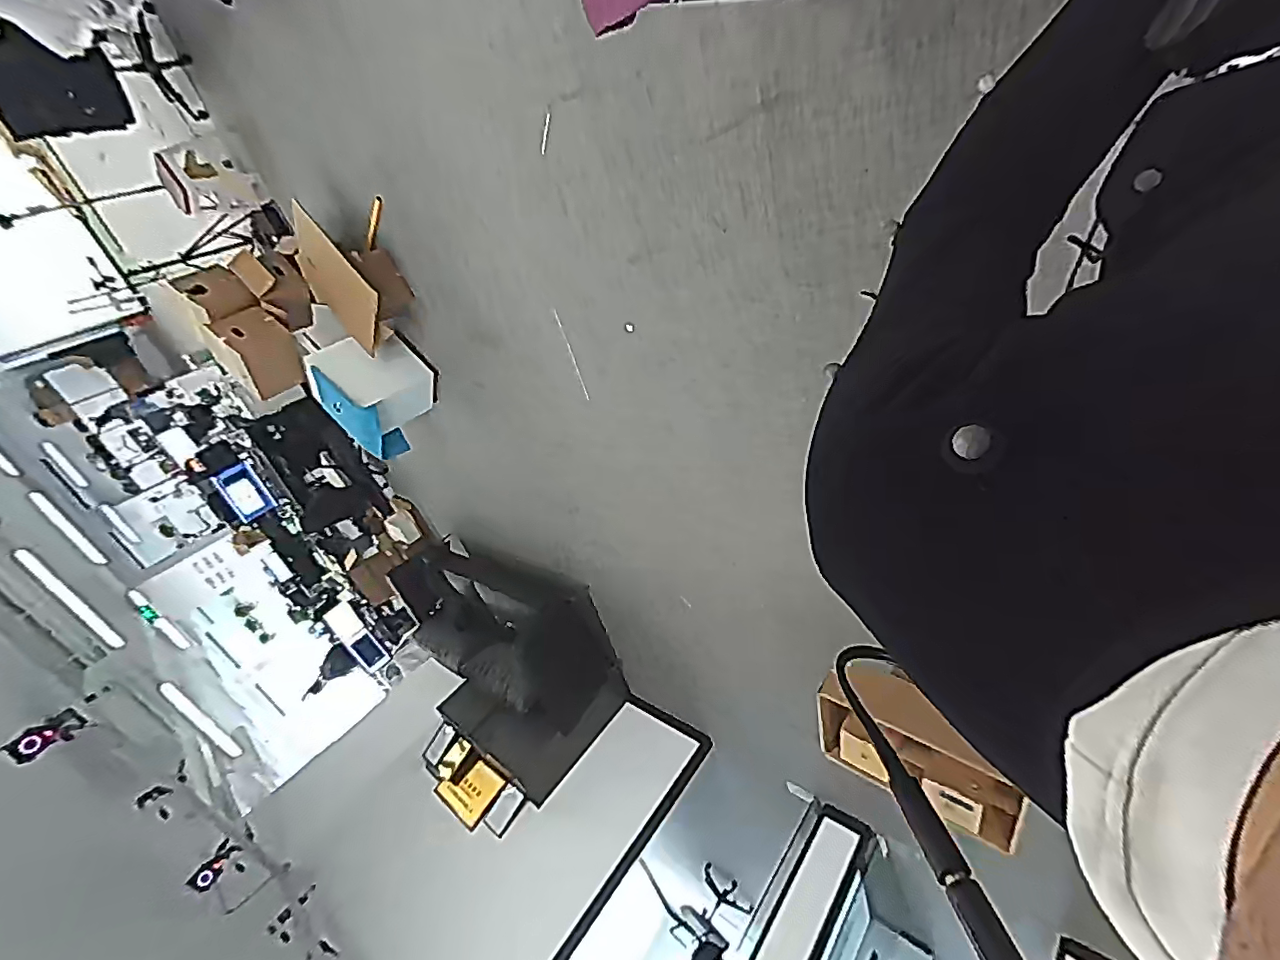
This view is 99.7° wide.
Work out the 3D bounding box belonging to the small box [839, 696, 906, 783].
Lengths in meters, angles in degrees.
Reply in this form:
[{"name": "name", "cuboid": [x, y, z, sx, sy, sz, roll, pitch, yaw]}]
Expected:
[{"name": "small box", "cuboid": [0.805, 0.894, 1.871, 0.168, 0.176, 0.179, 16, 132, 39]}]
